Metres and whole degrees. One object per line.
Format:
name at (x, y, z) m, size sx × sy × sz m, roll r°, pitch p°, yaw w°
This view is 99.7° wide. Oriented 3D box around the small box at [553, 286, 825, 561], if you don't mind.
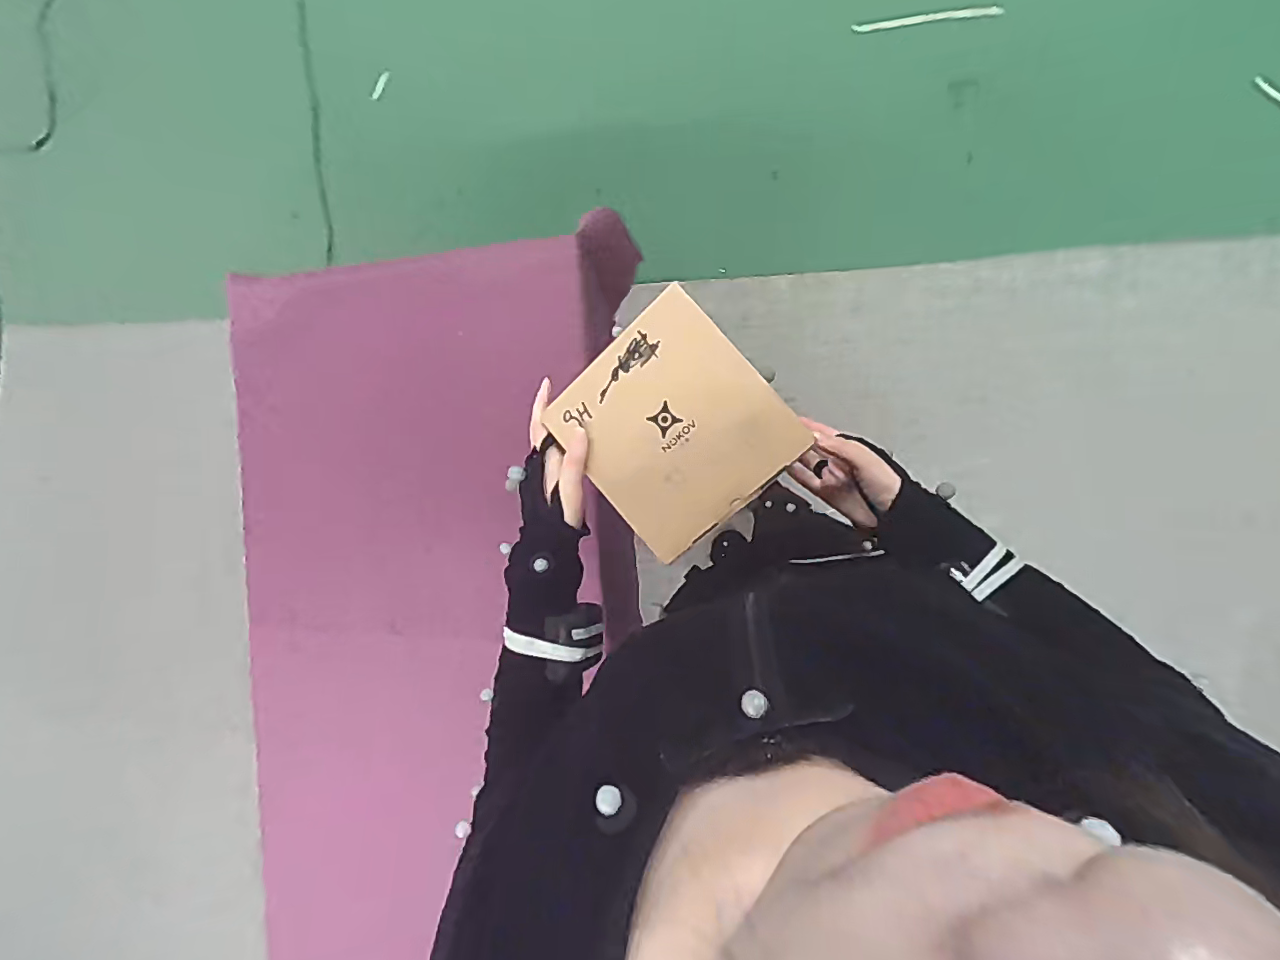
small box at (0.054, -0.055, 0.528) m, size 0.168 × 0.176 × 0.179 m, roll -41°, pitch 87°, yaw 15°
